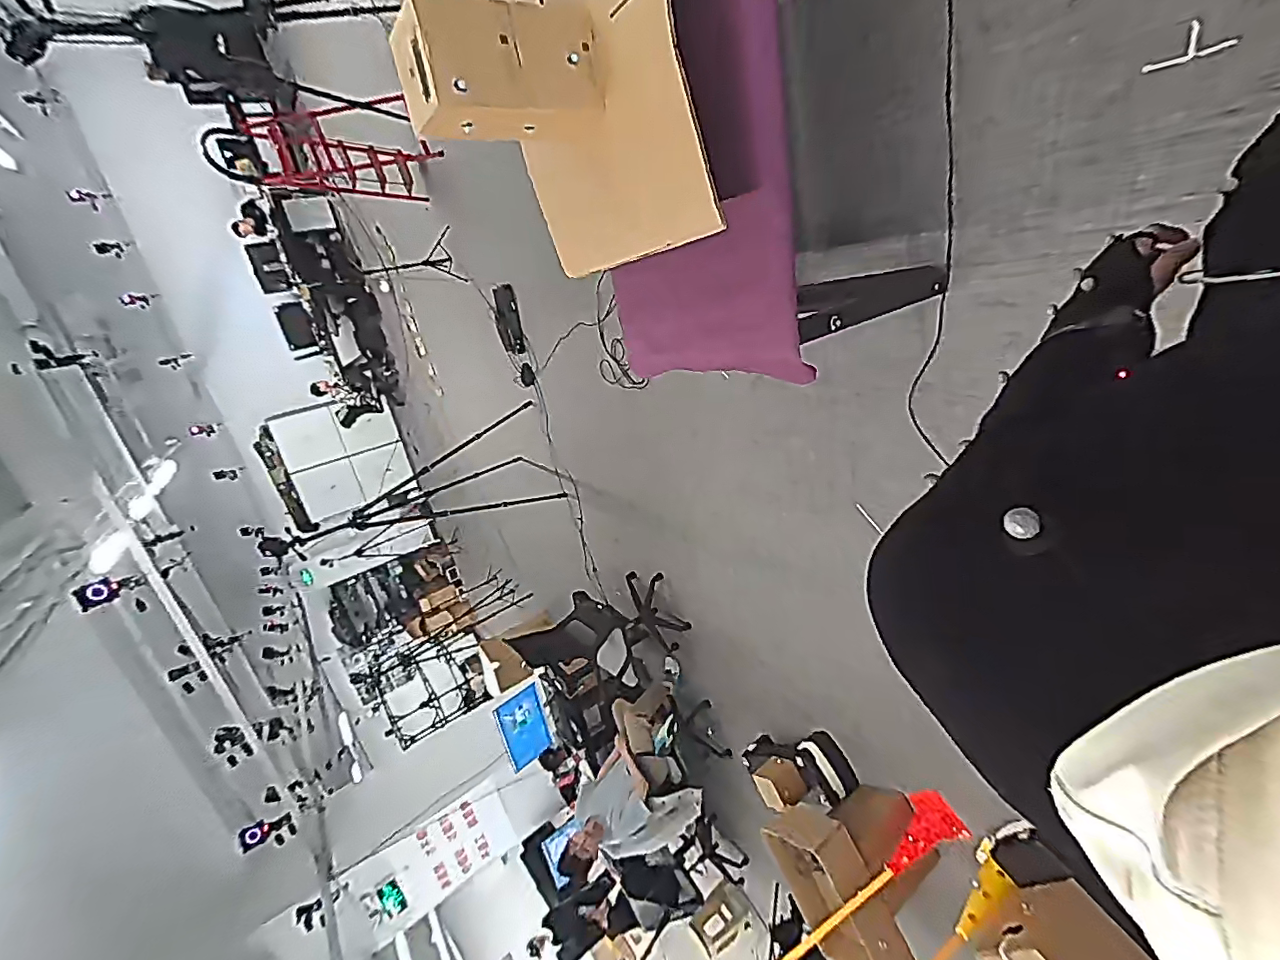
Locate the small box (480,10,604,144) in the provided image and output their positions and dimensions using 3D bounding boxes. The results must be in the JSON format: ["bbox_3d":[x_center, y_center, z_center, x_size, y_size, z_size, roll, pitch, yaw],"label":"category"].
[{"bbox_3d":[-0.194,-0.787,1.079,0.179,0.176,0.168,15,121,53],"label":"small box"}]
